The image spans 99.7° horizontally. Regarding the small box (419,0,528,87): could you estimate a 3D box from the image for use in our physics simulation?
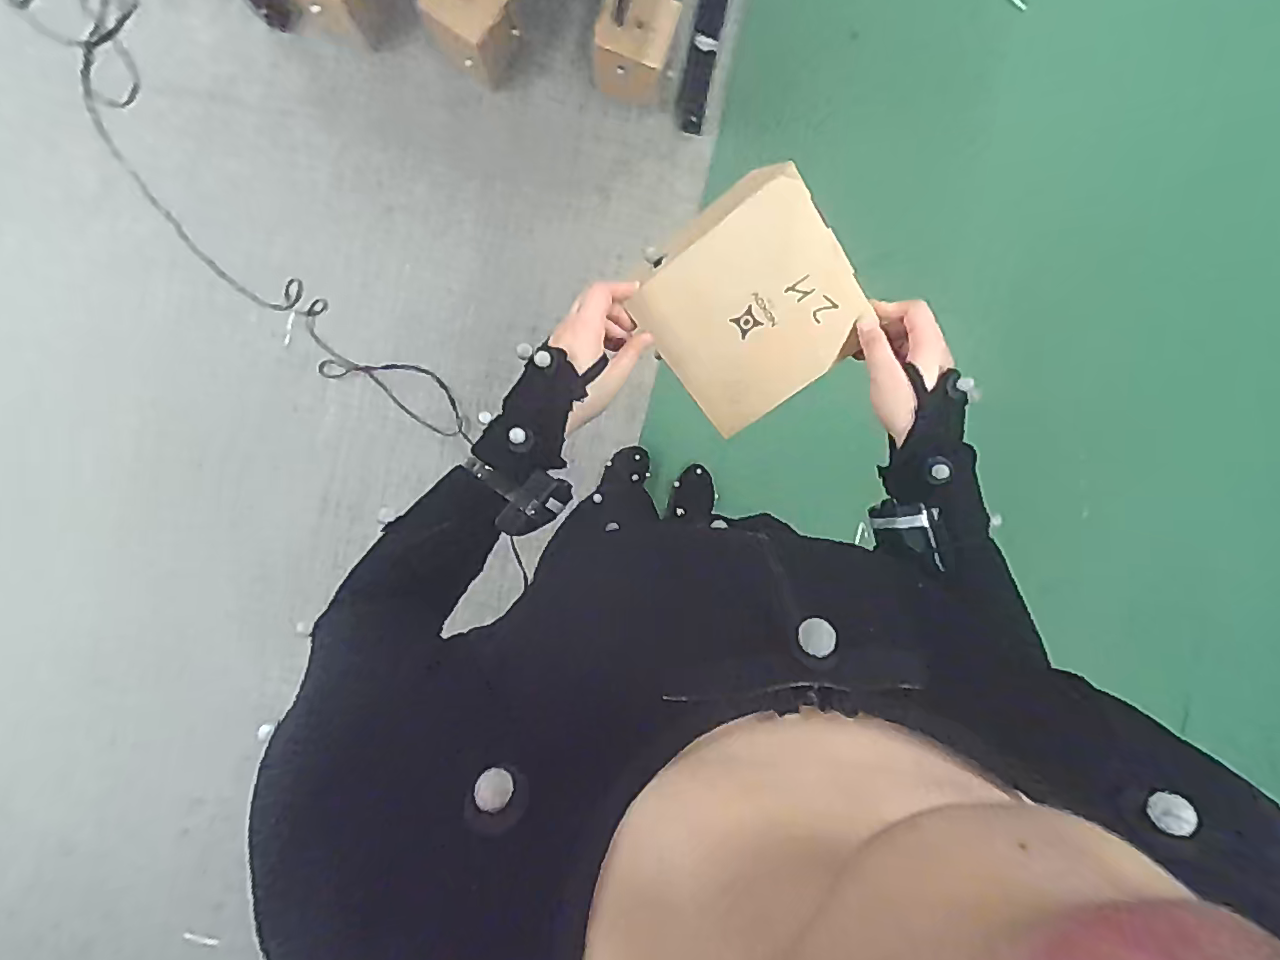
[{"bbox_3d":[-0.404,-1.134,1.345,0.179,0.176,0.168,34,91,0],"label":"small box"}]

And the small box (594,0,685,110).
[{"bbox_3d":[-0.002,-1.073,1.349,0.179,0.176,0.168,19,92,-2],"label":"small box"}]

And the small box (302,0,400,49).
[{"bbox_3d":[-0.738,-1.230,1.339,0.179,0.176,0.168,26,92,-1],"label":"small box"}]

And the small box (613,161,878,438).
[{"bbox_3d":[0.092,-0.178,0.537,0.179,0.176,0.168,-36,113,16],"label":"small box"}]
